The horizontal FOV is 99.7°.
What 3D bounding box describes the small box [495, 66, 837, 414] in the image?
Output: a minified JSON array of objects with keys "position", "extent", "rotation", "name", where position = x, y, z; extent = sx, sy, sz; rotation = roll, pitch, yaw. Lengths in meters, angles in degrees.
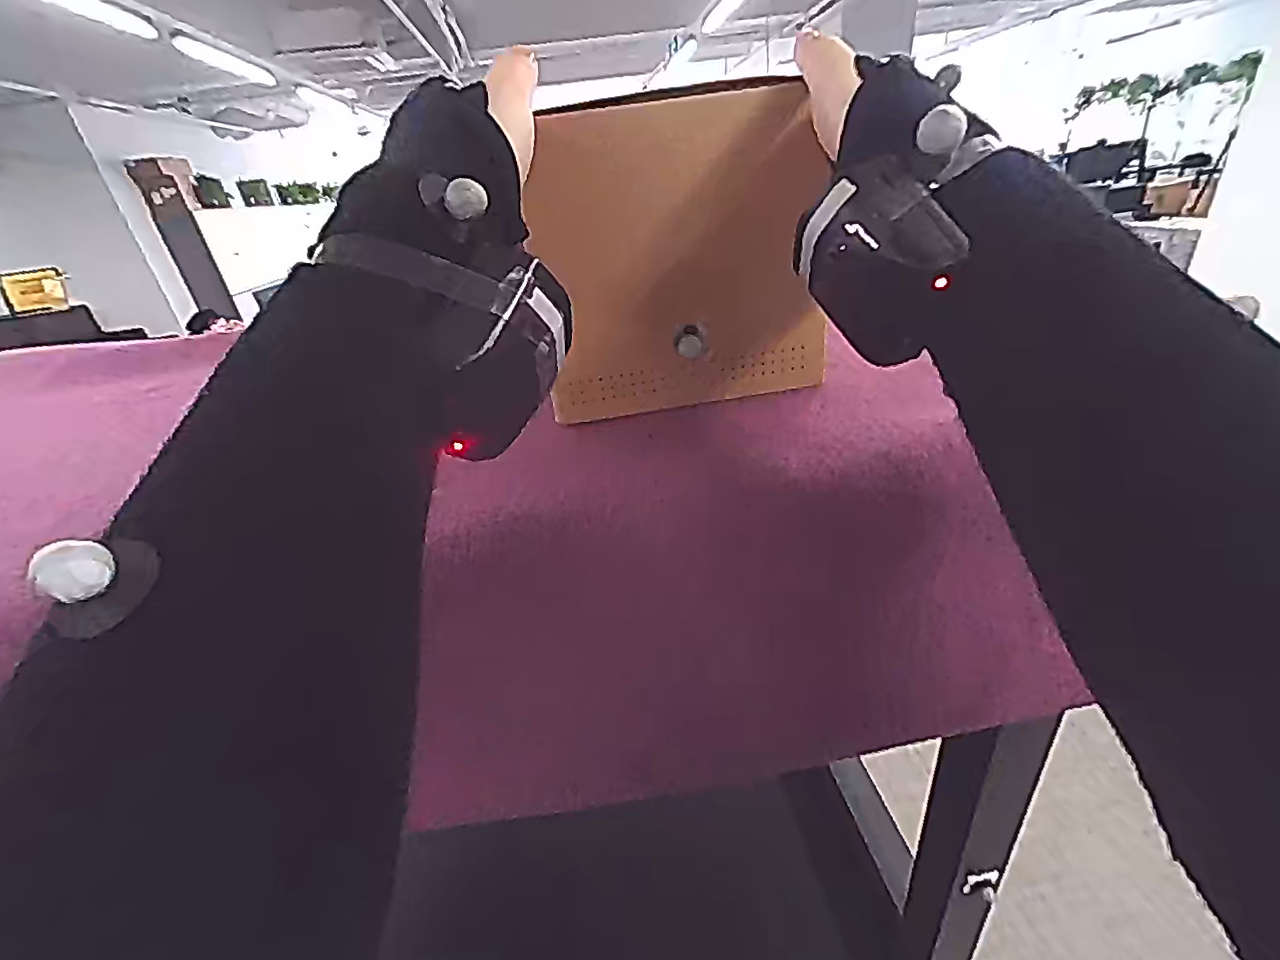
[{"position":[0.014,-0.159,0.374],"extent":[0.179,0.176,0.168],"rotation":[-9,28,-3],"name":"small box"}]
